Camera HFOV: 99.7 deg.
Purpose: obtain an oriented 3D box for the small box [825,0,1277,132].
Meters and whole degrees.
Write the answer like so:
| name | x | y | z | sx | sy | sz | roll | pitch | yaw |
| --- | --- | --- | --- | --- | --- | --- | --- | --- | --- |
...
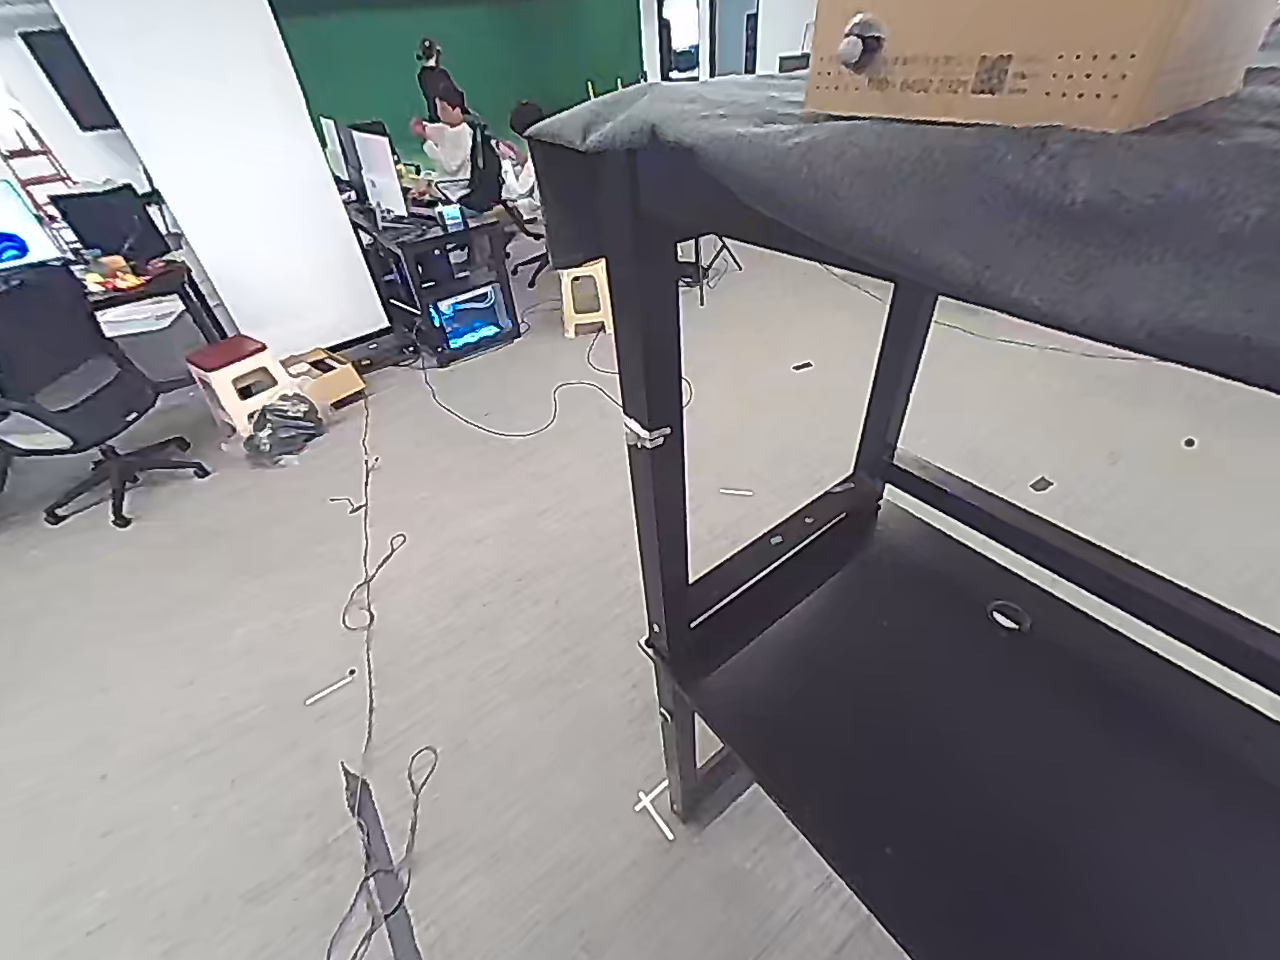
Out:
| name | x | y | z | sx | sy | sz | roll | pitch | yaw |
| --- | --- | --- | --- | --- | --- | --- | --- | --- | --- |
| small box | 0.211 | -0.278 | 0.261 | 0.179 | 0.176 | 0.168 | -28 | 46 | -28 |
